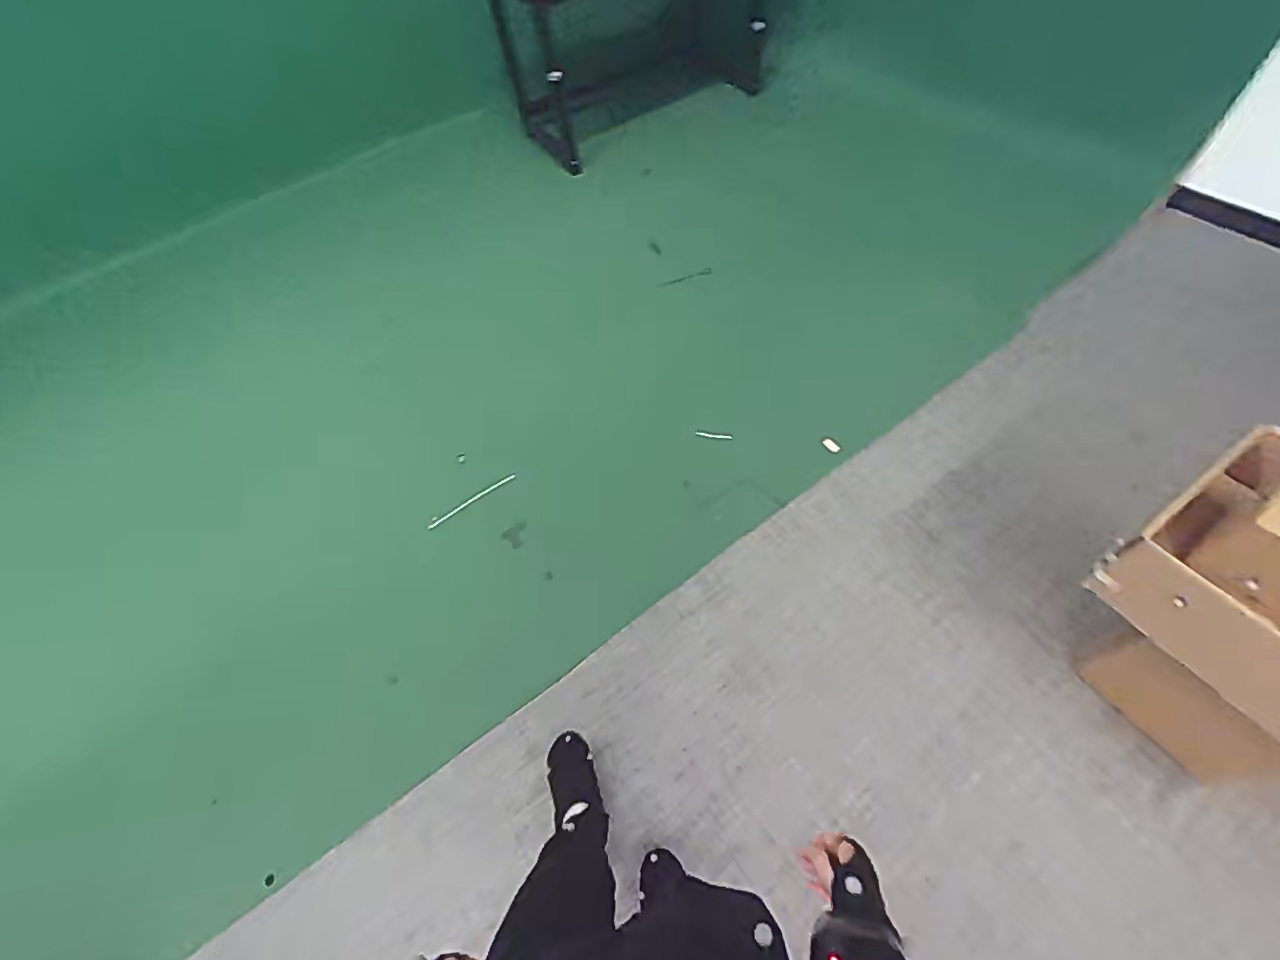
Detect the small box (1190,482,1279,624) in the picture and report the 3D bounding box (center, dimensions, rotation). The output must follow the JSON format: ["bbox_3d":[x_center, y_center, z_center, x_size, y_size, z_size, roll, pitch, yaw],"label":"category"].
[{"bbox_3d":[1.124,0.116,0.929,0.179,0.176,0.168,-36,60,-15],"label":"small box"}]
